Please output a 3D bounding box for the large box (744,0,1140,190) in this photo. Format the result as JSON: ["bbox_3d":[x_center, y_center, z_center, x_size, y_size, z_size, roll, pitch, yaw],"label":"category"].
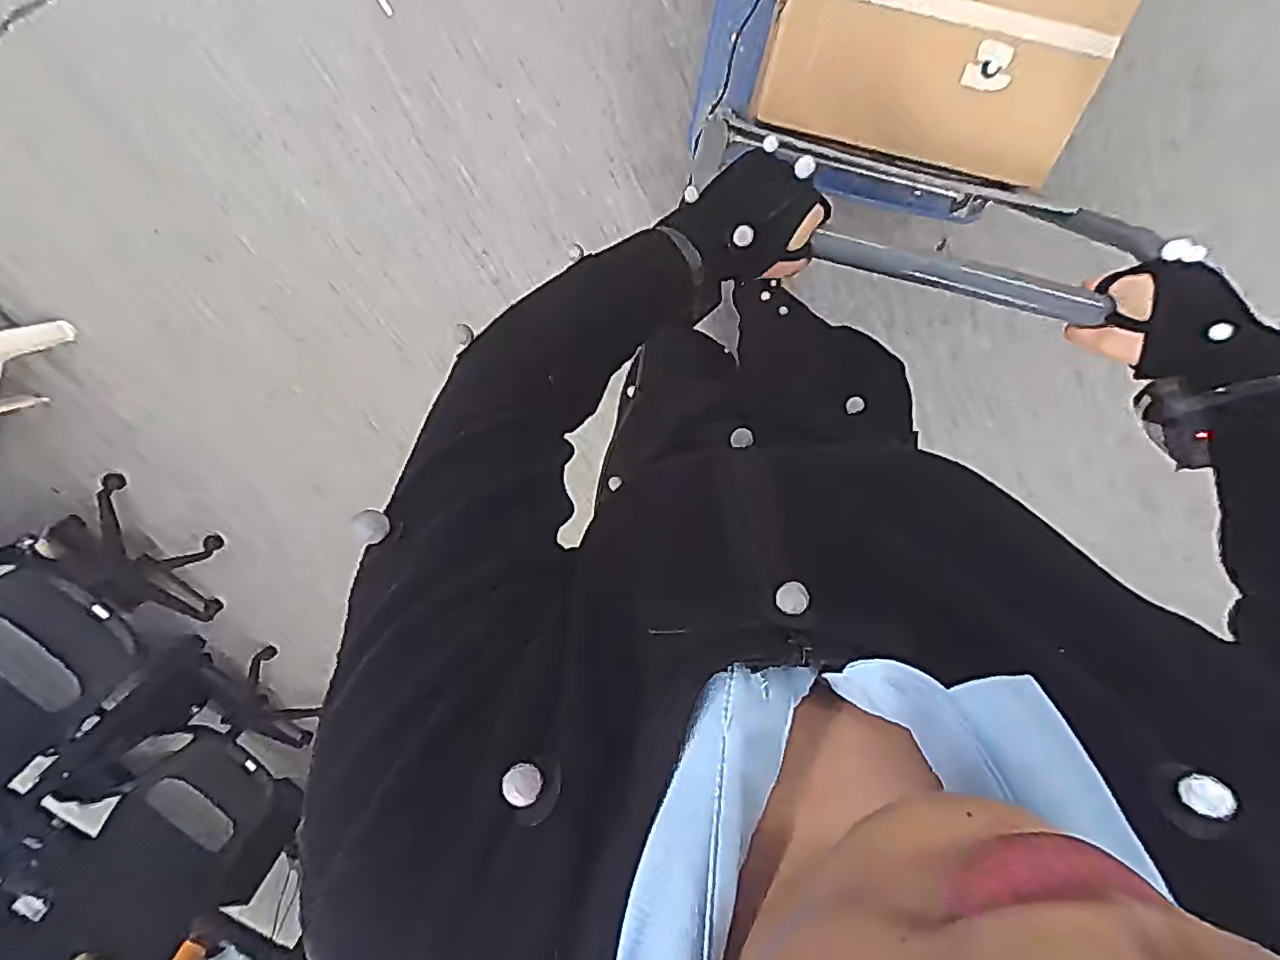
[{"bbox_3d":[0.391,-0.637,0.780,0.408,0.320,0.320,13,123,-1],"label":"large box"}]
